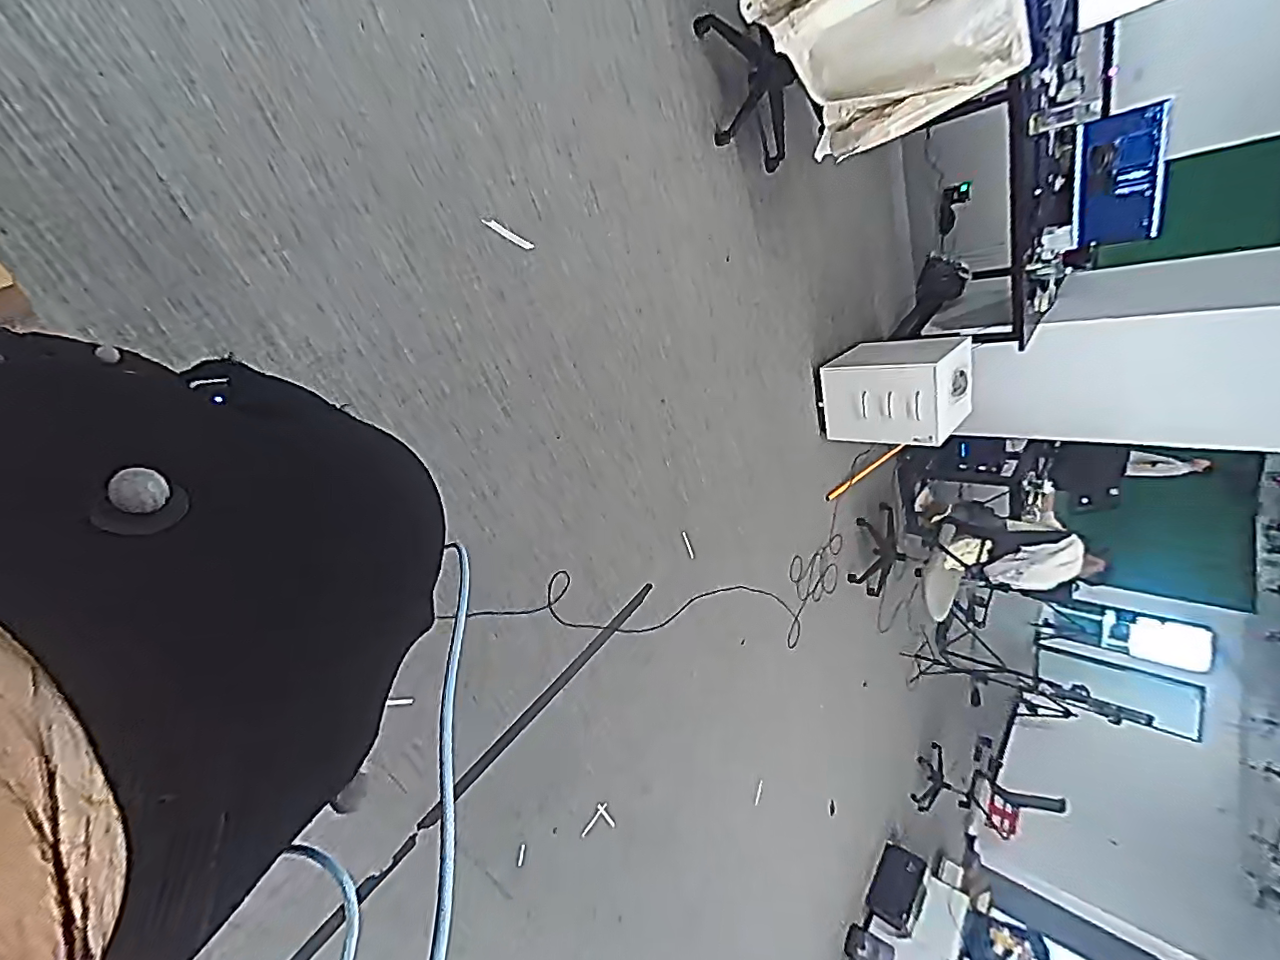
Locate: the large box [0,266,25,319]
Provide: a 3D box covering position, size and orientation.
[{"bbox_3d":[-1.110,-0.287,0.639,0.408,0.320,0.320,-42,124,-33],"label":"large box"}]
